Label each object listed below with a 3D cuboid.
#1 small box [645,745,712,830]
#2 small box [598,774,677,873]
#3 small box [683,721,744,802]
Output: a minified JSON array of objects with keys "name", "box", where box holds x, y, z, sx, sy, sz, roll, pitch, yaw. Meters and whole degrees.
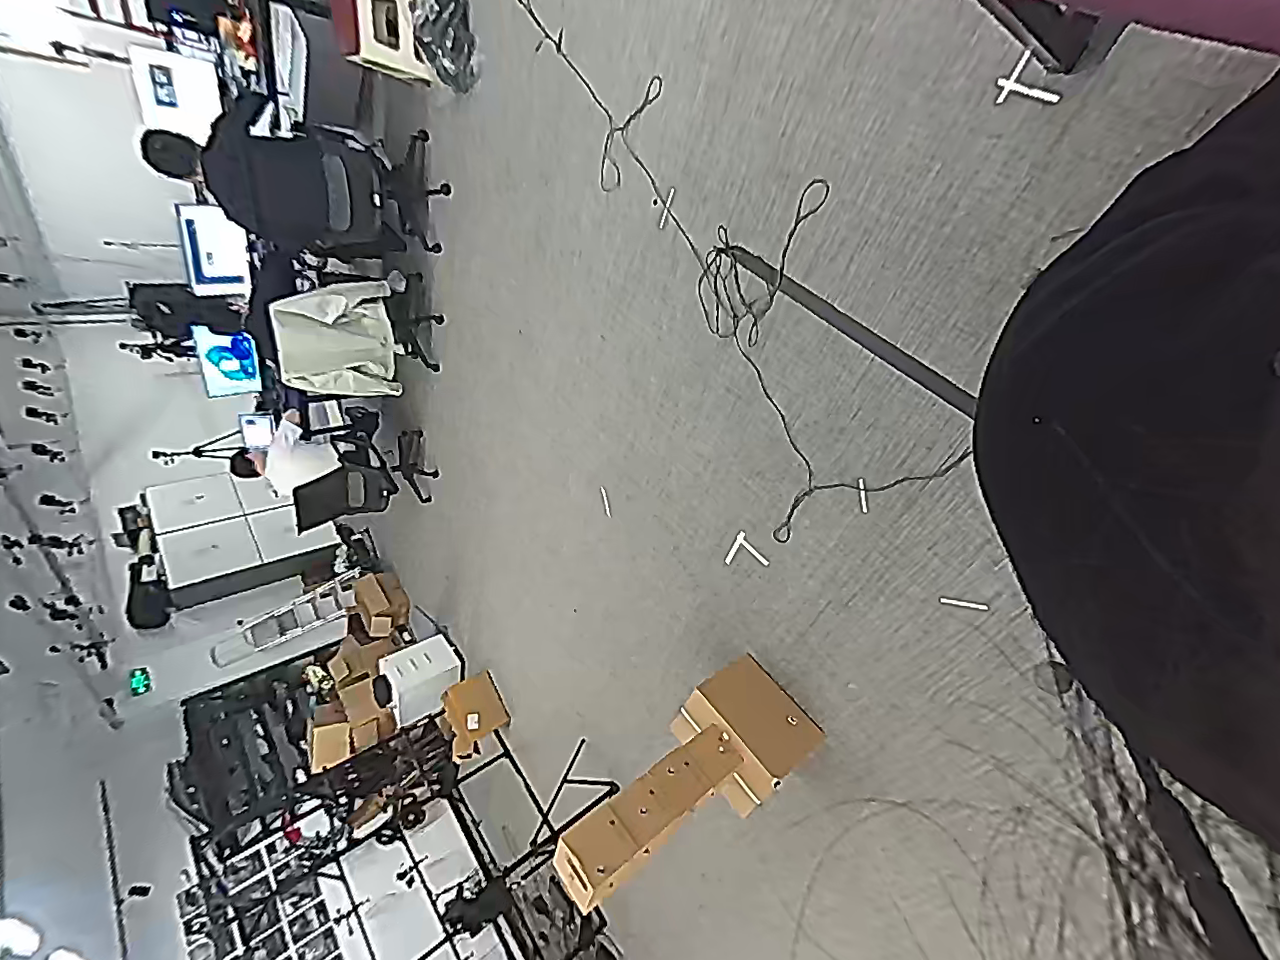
[{"name":"small box","box":[0.116,1.026,1.803,0.168,0.176,0.179,44,133,32]},{"name":"small box","box":[-0.005,1.070,1.699,0.168,0.176,0.179,40,130,35]},{"name":"small box","box":[0.237,0.996,1.906,0.168,0.176,0.179,44,132,30]}]
